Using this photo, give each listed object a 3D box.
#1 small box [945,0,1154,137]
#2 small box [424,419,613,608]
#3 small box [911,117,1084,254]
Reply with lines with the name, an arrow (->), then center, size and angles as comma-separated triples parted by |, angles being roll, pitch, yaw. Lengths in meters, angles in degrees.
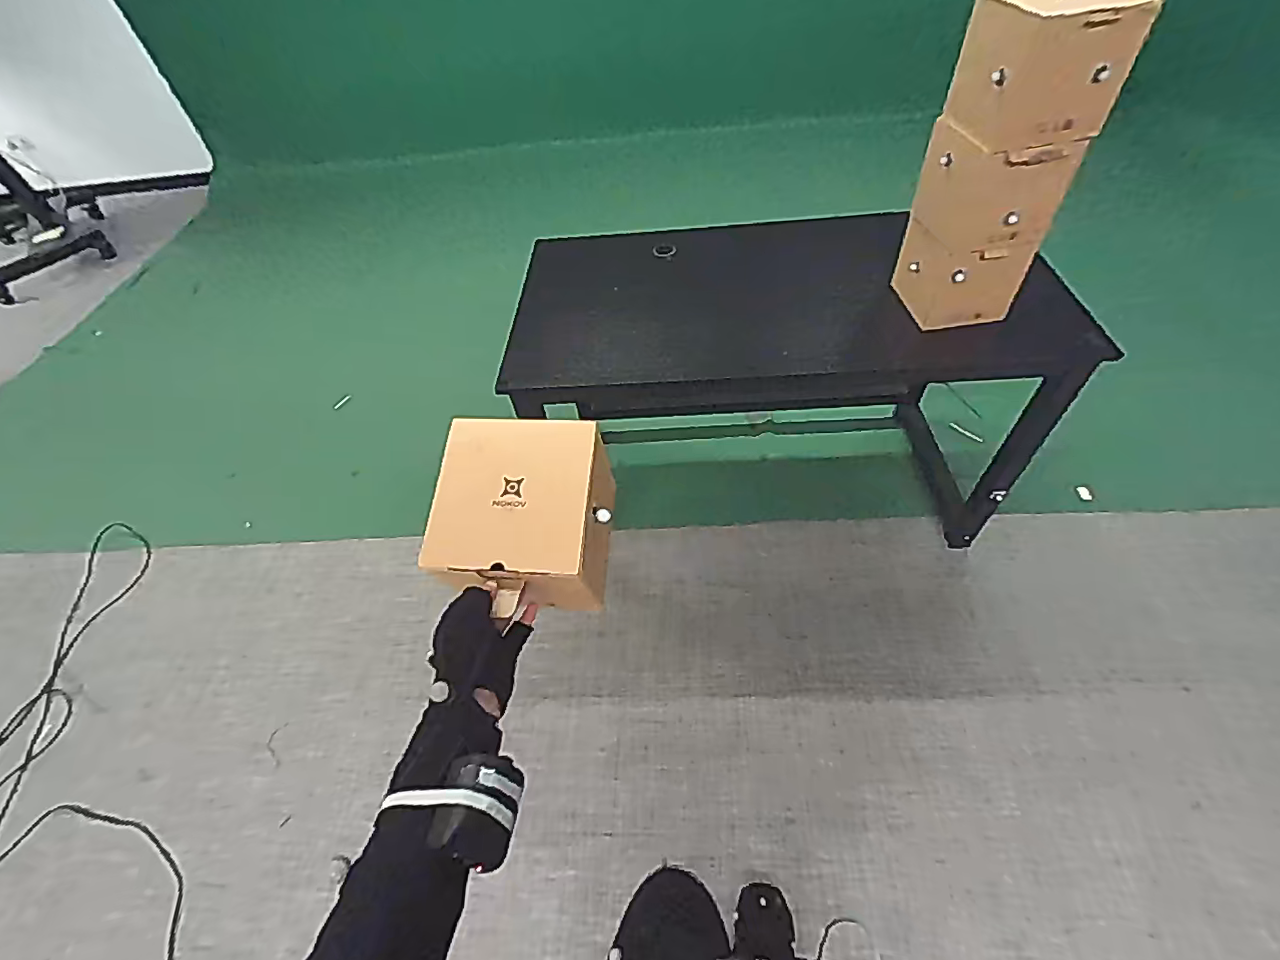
small box -> 0.603, -0.642, 0.821 | 0.168, 0.176, 0.179 | -9, 50, 0
small box -> -0.125, 0.045, 0.640 | 0.168, 0.176, 0.179 | 1, 66, 5
small box -> 0.614, -0.529, 0.960 | 0.168, 0.176, 0.179 | -9, 51, 1
